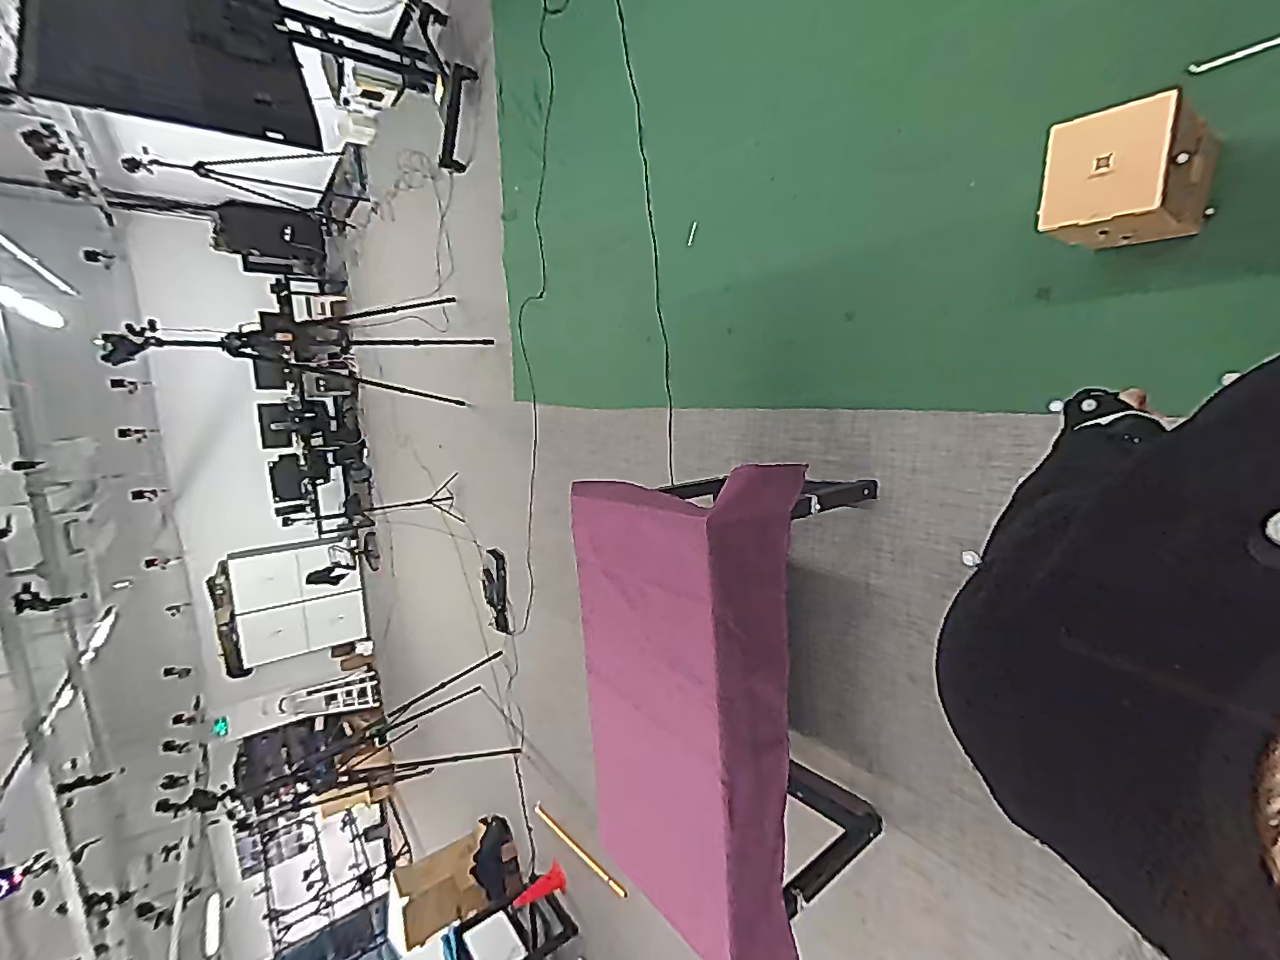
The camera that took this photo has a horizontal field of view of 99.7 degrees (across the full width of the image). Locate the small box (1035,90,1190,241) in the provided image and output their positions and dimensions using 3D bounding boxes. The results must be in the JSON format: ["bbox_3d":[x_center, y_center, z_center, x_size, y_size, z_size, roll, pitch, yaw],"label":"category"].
[{"bbox_3d":[0.838,-0.540,0.959,0.168,0.176,0.179,14,108,52],"label":"small box"}]

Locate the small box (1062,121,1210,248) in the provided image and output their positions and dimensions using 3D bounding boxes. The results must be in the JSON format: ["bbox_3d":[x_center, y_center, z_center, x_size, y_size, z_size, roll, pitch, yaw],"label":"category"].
[{"bbox_3d":[0.967,-0.564,1.056,0.179,0.176,0.168,14,108,53],"label":"small box"}]
